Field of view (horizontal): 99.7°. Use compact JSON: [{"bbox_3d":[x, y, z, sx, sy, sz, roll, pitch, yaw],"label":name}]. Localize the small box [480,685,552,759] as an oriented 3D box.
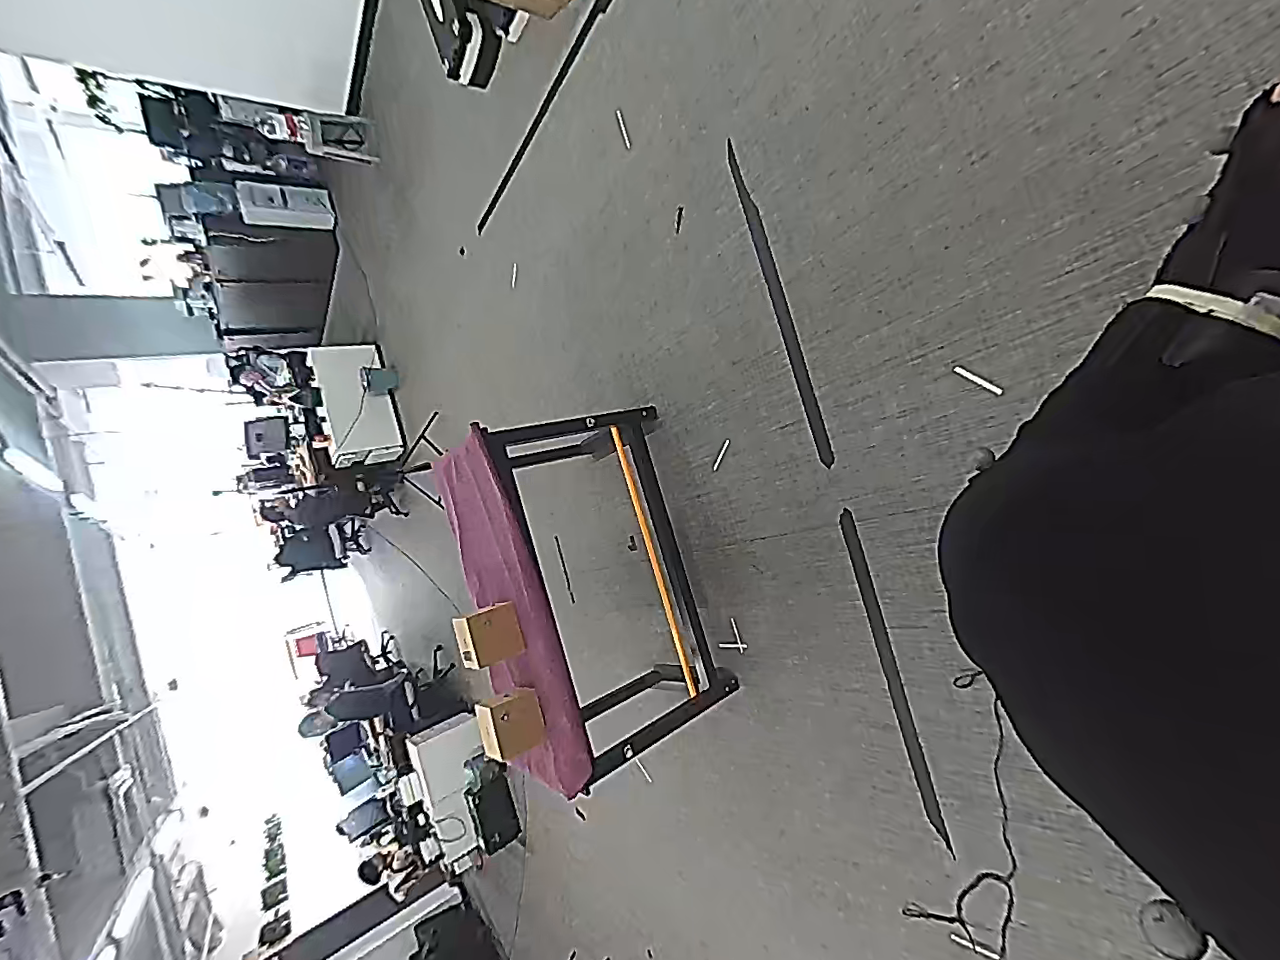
[{"bbox_3d":[-0.420,0.813,1.836,0.168,0.176,0.179,-26,78,54],"label":"small box"}]
